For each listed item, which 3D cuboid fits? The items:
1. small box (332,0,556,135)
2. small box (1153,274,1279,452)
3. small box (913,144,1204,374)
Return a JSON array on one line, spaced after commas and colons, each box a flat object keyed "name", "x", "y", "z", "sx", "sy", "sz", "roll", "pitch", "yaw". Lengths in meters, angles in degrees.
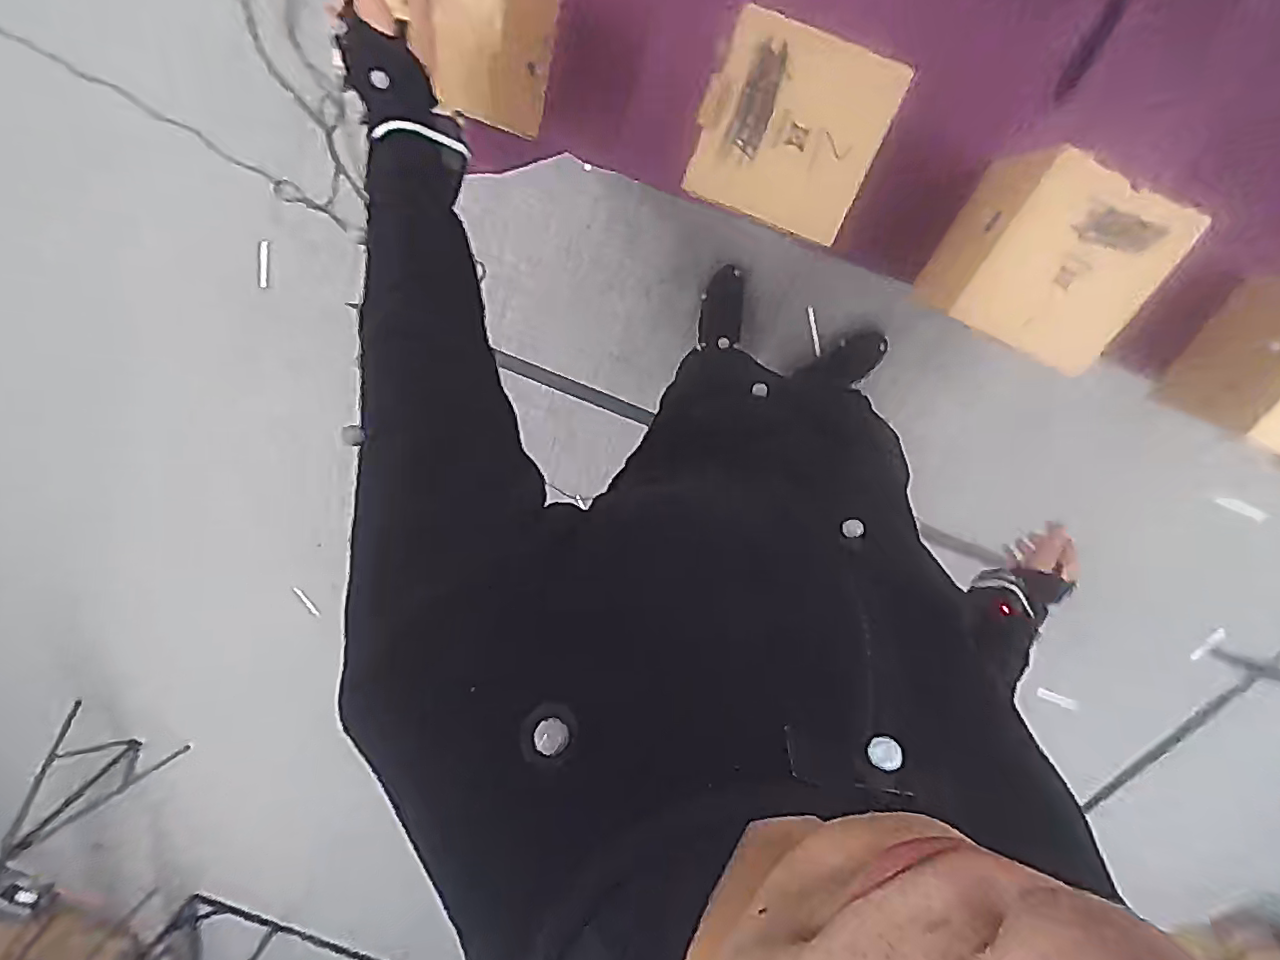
[{"name": "small box", "x": -0.214, "y": -0.517, "z": 0.615, "sx": 0.179, "sy": 0.176, "sz": 0.168, "roll": 18, "pitch": 117, "yaw": -1}, {"name": "small box", "x": 0.780, "y": -0.126, "z": 0.633, "sx": 0.168, "sy": 0.176, "sz": 0.179, "roll": 22, "pitch": 117, "yaw": 0}, {"name": "small box", "x": 0.454, "y": -0.254, "z": 0.629, "sx": 0.168, "sy": 0.176, "sz": 0.179, "roll": 25, "pitch": 118, "yaw": -2}]
